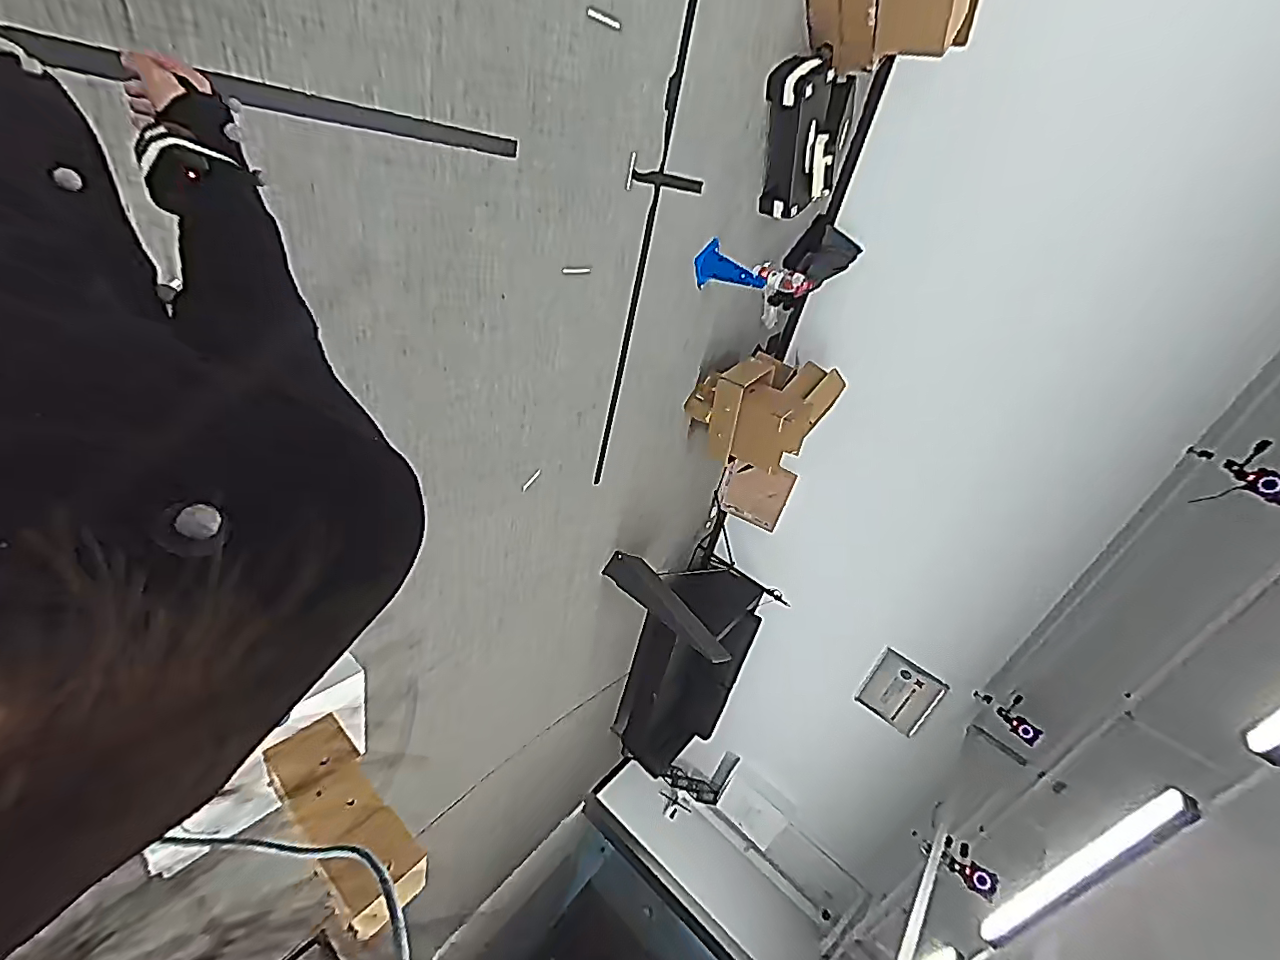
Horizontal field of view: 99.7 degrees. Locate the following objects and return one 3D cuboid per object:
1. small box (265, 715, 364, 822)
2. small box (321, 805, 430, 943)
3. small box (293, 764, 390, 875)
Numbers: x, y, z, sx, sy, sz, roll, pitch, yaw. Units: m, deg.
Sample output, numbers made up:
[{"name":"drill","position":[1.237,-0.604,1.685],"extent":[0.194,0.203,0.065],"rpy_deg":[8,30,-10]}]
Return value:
[{"name":"small box","position":[-0.872,0.778,1.458],"extent":[0.179,0.176,0.168],"rpy_deg":[-24,138,-46]},{"name":"small box","position":[-0.633,0.933,1.298],"extent":[0.179,0.176,0.168],"rpy_deg":[-24,138,-47]},{"name":"small box","position":[-0.761,0.869,1.383],"extent":[0.168,0.176,0.179],"rpy_deg":[-24,139,-47]}]
